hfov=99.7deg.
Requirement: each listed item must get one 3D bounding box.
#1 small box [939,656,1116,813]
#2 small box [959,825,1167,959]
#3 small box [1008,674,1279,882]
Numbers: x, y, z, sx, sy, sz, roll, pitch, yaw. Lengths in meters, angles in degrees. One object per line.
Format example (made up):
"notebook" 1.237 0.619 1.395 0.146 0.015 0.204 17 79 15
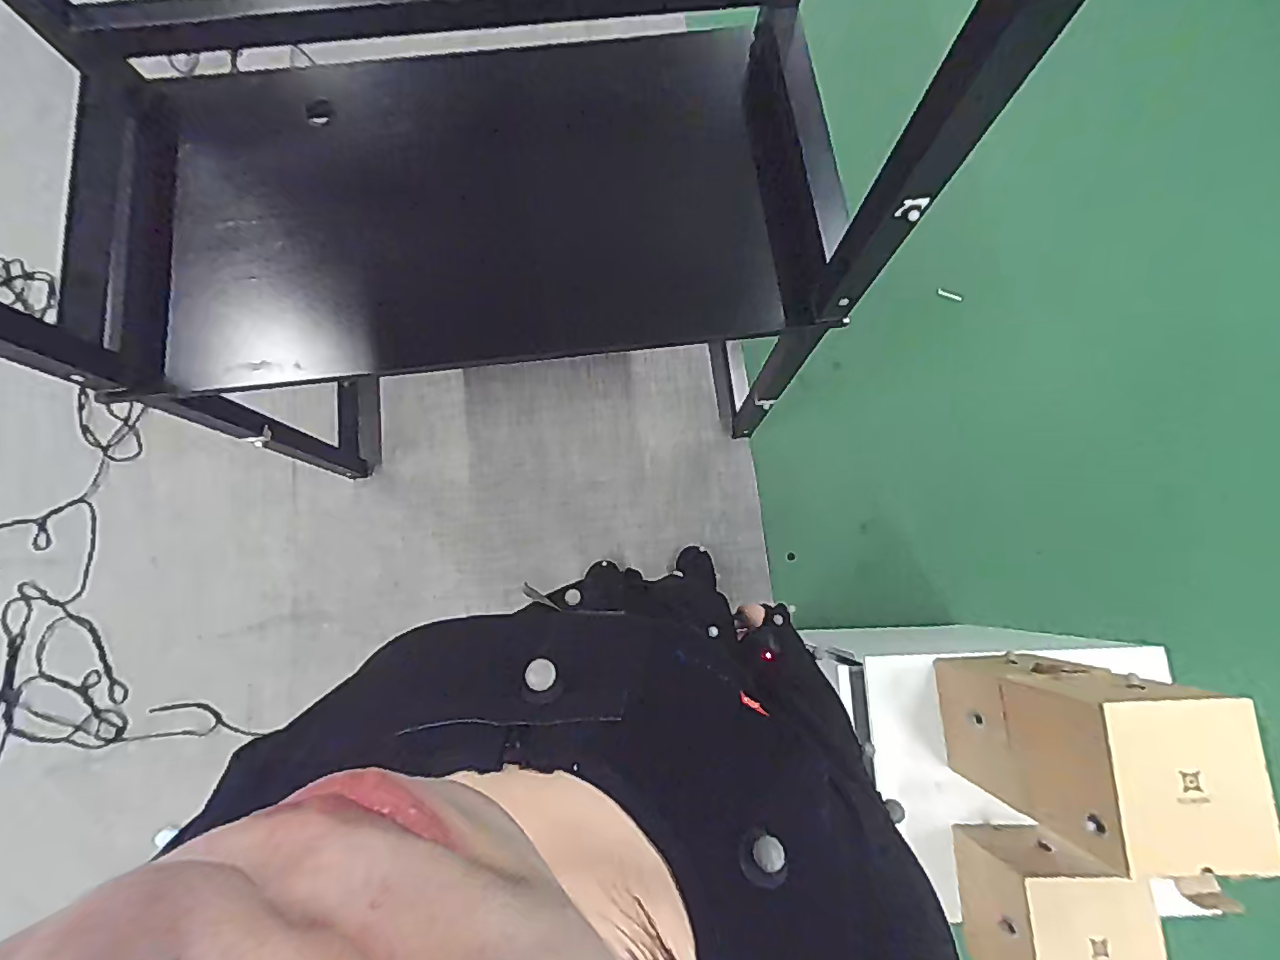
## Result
"small box" 0.571 0.360 0.800 0.168 0.176 0.179 -3 80 0
"small box" 0.571 0.606 0.750 0.168 0.176 0.179 0 79 1
"small box" 0.573 0.331 0.639 0.168 0.176 0.179 -2 81 -1
